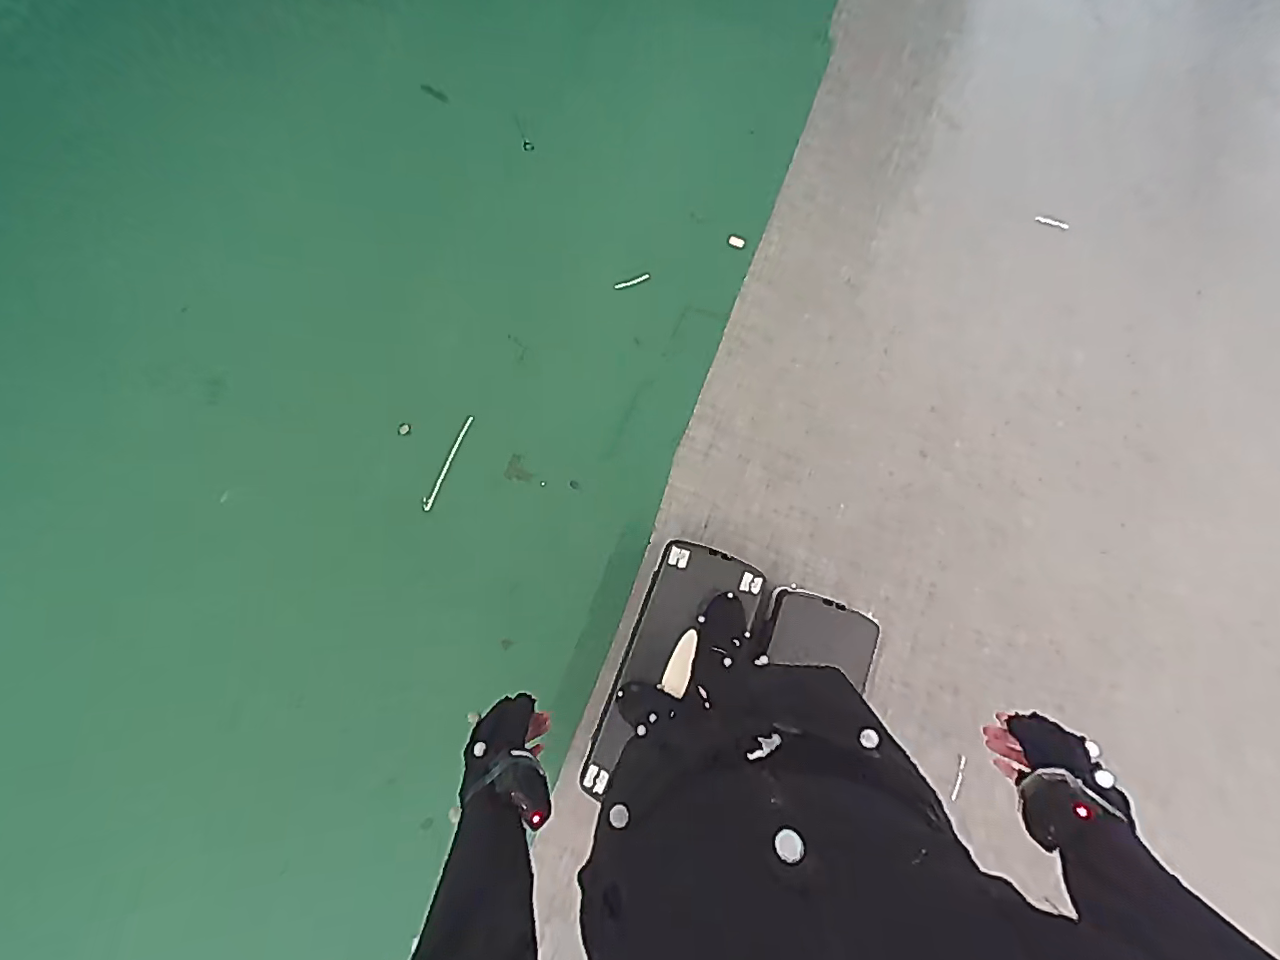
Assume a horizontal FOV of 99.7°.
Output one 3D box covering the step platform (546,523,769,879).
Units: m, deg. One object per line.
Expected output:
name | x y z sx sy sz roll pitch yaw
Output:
step platform | 0.047 0.453 1.208 0.286 0.204 0.684 20 79 4
